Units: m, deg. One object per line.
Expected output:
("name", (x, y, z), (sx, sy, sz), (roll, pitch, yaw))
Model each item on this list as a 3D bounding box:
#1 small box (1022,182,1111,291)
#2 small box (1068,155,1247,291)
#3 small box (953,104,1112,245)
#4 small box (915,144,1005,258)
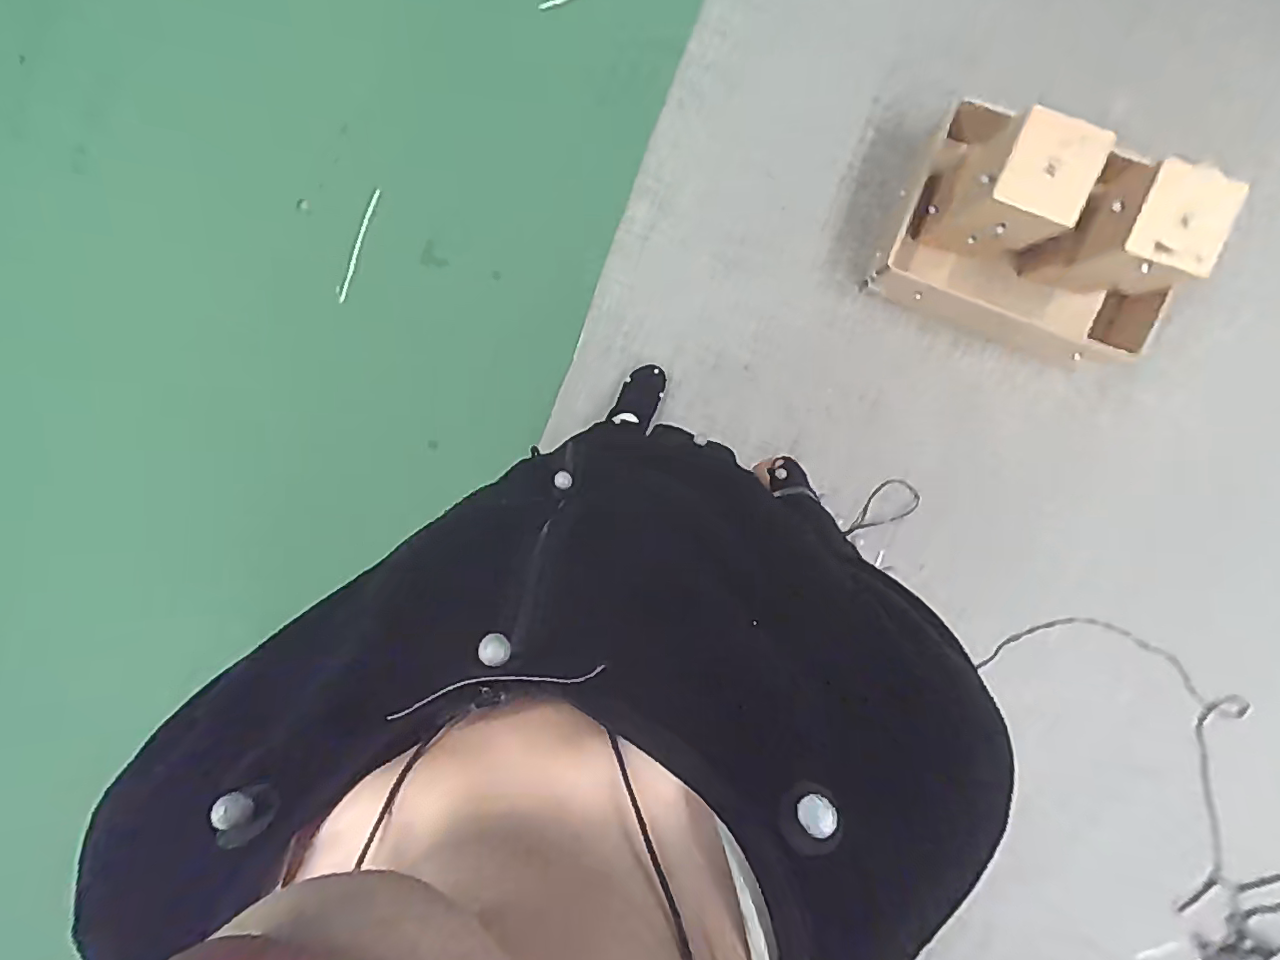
("small box", (1.033, -0.549, 1.244), (0.179, 0.176, 0.168), (15, 99, 1))
("small box", (1.020, -0.504, 1.086), (0.168, 0.176, 0.179), (19, 98, 2))
("small box", (0.772, -0.600, 1.090), (0.168, 0.176, 0.179), (20, 99, 0))
("small box", (0.776, -0.634, 1.251), (0.179, 0.176, 0.168), (16, 99, 0))
